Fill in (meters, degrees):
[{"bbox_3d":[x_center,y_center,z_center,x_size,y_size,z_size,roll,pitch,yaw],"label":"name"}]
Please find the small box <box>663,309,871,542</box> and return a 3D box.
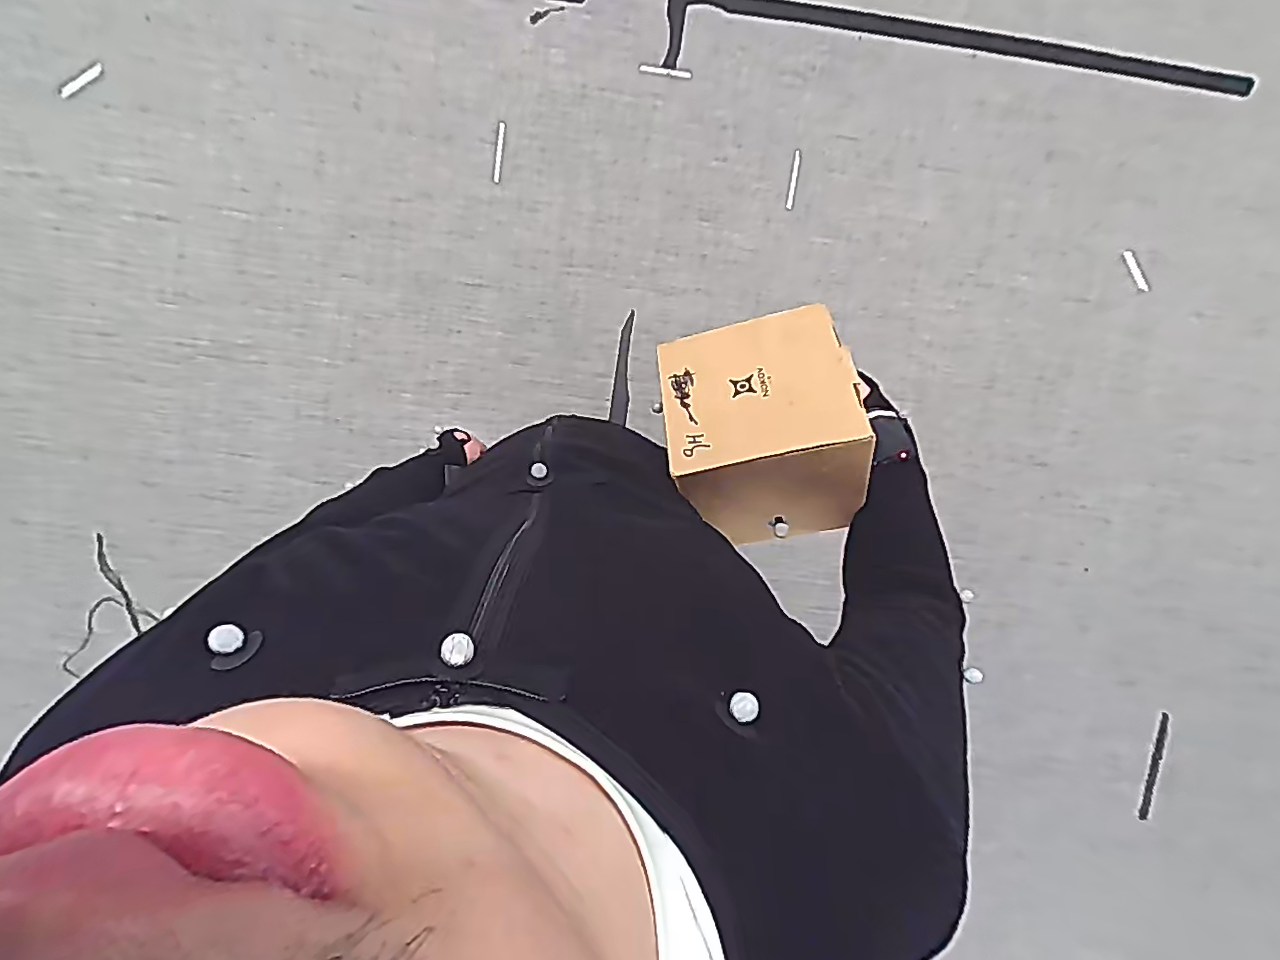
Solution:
[{"bbox_3d":[0.132,-0.049,0.586,0.179,0.176,0.168,-11,56,11],"label":"small box"}]
